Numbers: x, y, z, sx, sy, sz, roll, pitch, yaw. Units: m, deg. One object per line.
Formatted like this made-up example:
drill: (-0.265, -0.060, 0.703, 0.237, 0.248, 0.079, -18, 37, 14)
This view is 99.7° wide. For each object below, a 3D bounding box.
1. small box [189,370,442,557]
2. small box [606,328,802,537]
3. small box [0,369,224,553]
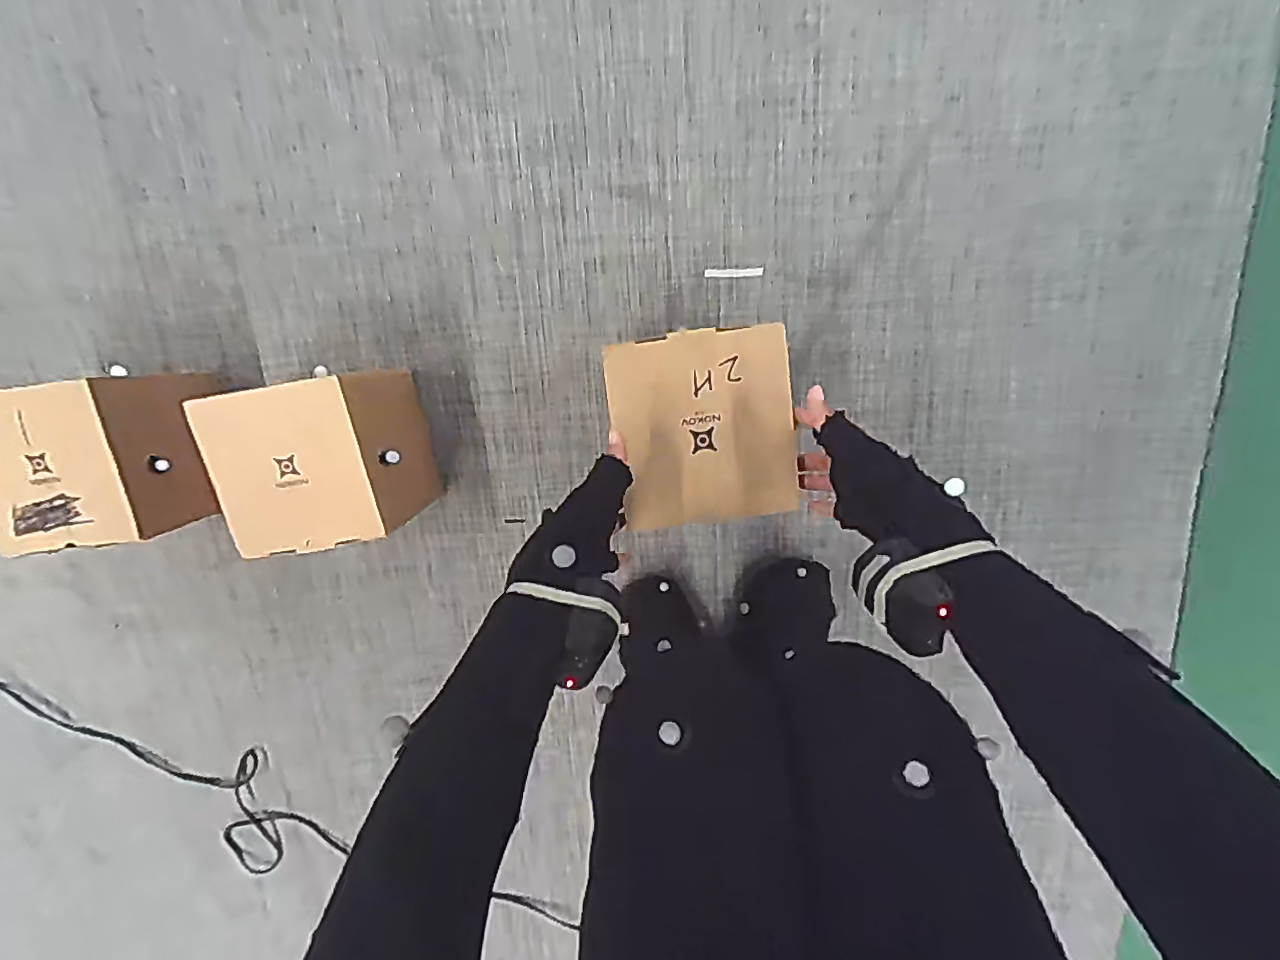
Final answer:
small box: (-0.355, -0.031, 0.631, 0.168, 0.176, 0.179, -9, 105, 3)
small box: (0.061, -0.055, 0.561, 0.168, 0.176, 0.179, -7, 101, 1)
small box: (-0.611, -0.031, 0.633, 0.168, 0.176, 0.179, -6, 103, 2)
